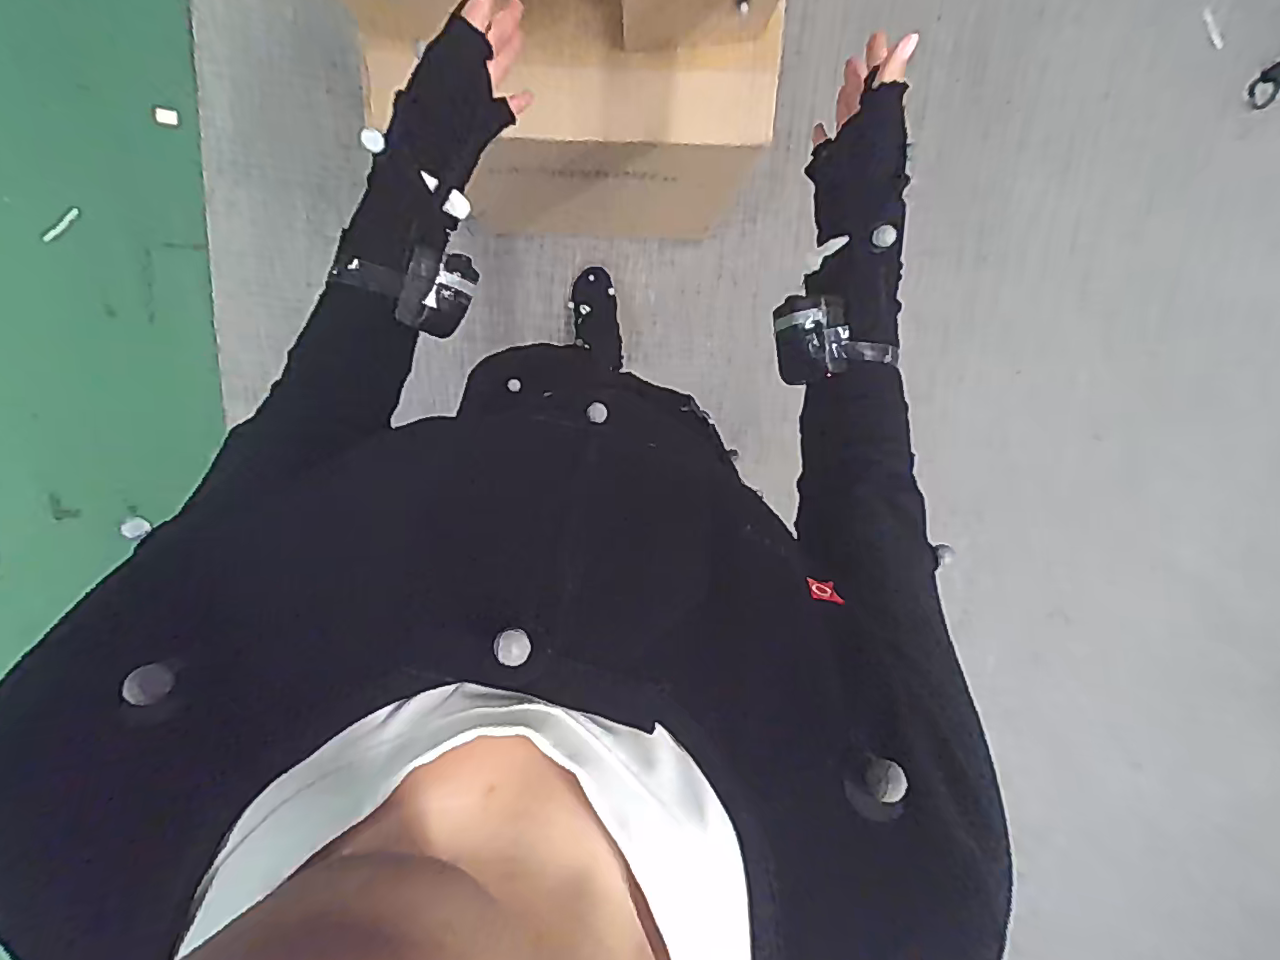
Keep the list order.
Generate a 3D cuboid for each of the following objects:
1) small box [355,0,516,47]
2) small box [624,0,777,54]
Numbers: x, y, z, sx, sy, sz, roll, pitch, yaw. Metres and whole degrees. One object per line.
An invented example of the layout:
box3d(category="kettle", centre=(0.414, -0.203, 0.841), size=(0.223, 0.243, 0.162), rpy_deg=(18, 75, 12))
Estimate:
box3d(category="small box", centre=(-0.236, -0.605, 0.580), size=(0.179, 0.176, 0.168), rpy_deg=(5, 105, -2))
box3d(category="small box", centre=(0.064, -0.602, 0.583), size=(0.179, 0.176, 0.168), rpy_deg=(-5, 104, 3))
